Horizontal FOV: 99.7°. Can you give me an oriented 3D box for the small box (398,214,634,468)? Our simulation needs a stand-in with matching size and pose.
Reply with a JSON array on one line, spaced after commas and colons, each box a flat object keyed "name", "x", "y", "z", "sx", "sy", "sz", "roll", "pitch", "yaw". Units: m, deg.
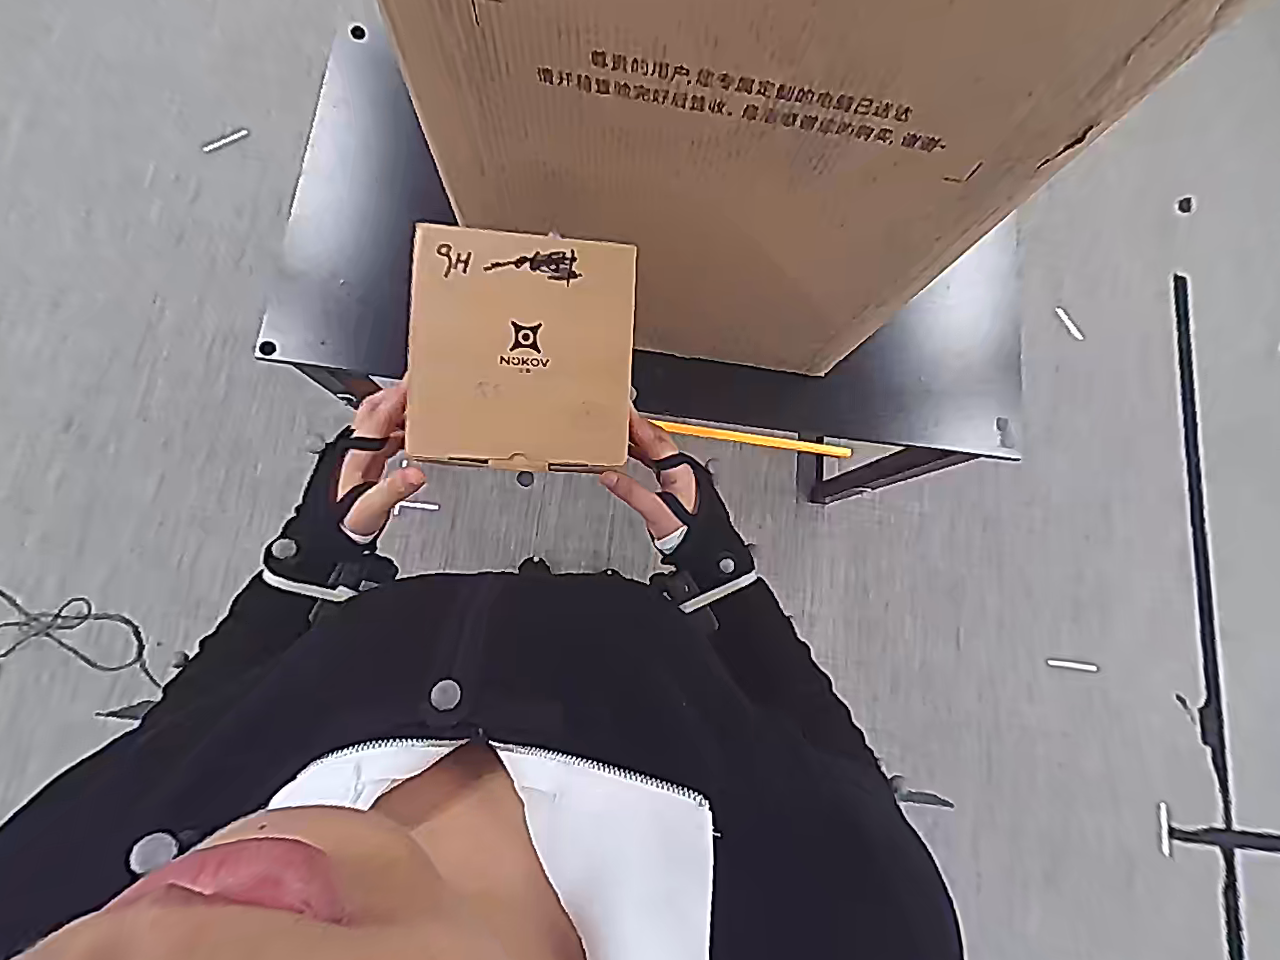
[{"name": "small box", "x": -0.100, "y": -0.102, "z": 0.476, "sx": 0.168, "sy": 0.176, "sz": 0.179, "roll": 2, "pitch": 91, "yaw": -8}]
